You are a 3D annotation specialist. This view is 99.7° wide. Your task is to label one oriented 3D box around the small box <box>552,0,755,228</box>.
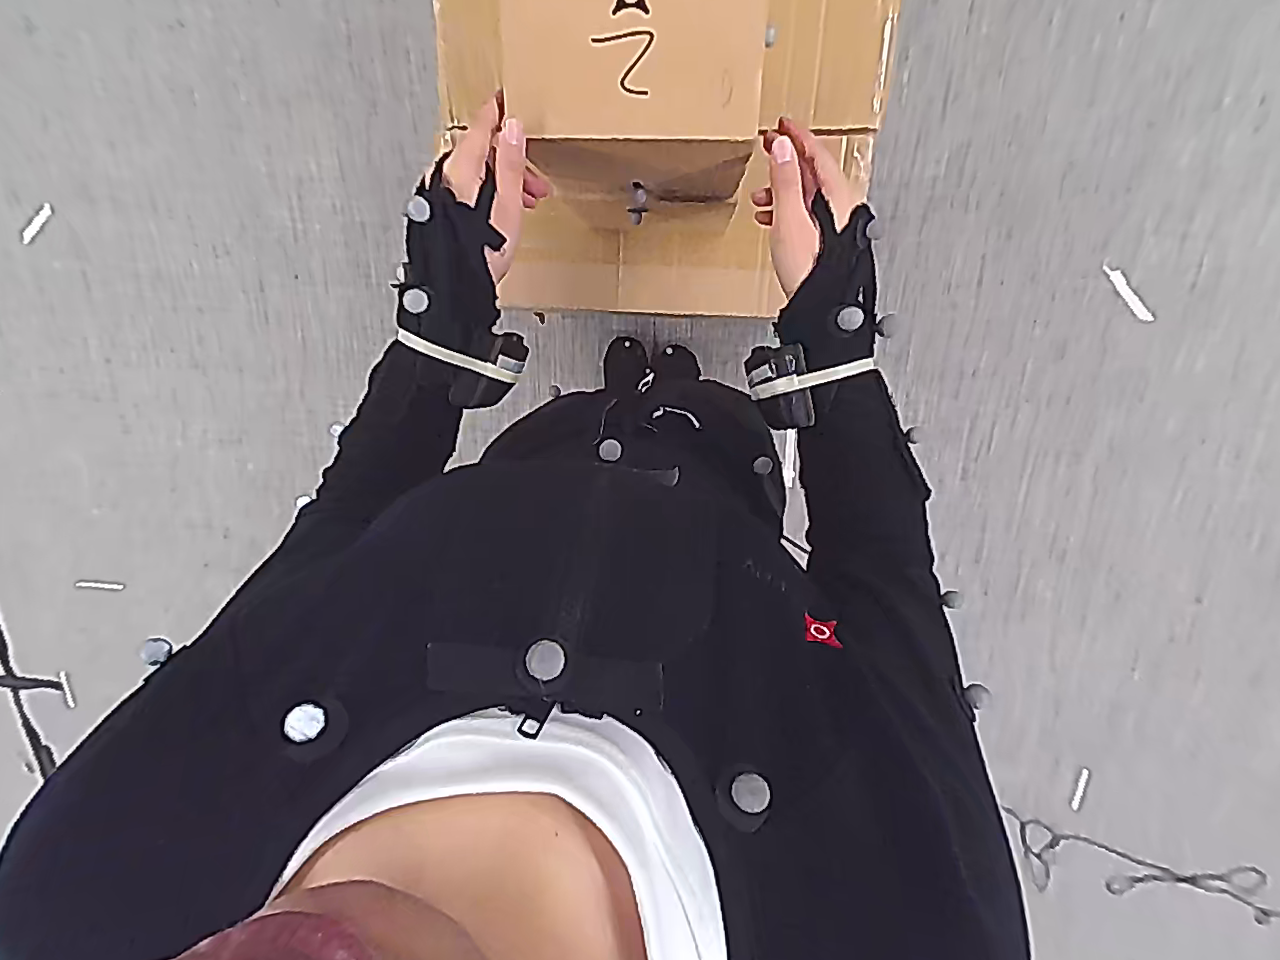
[{"bbox_3d":[0.015,-0.364,0.559,0.179,0.176,0.168,4,106,4],"label":"small box"}]
